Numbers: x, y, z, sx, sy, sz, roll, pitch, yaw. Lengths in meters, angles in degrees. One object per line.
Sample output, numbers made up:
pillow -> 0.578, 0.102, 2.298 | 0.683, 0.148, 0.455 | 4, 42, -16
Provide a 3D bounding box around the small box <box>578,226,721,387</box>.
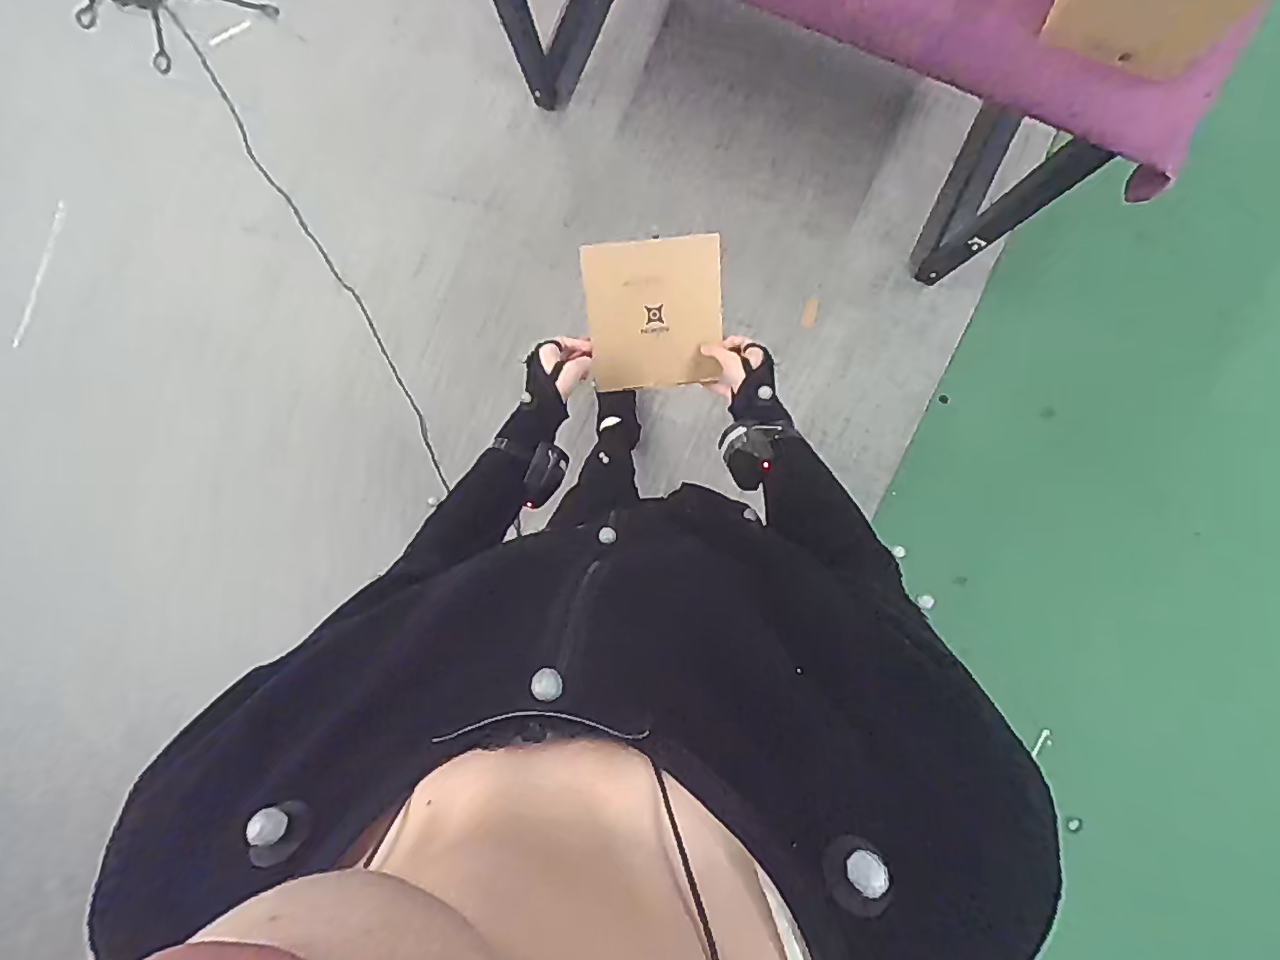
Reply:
small box -> 0.013, -0.237, 0.721 | 0.168, 0.176, 0.179 | -5, 115, -1
